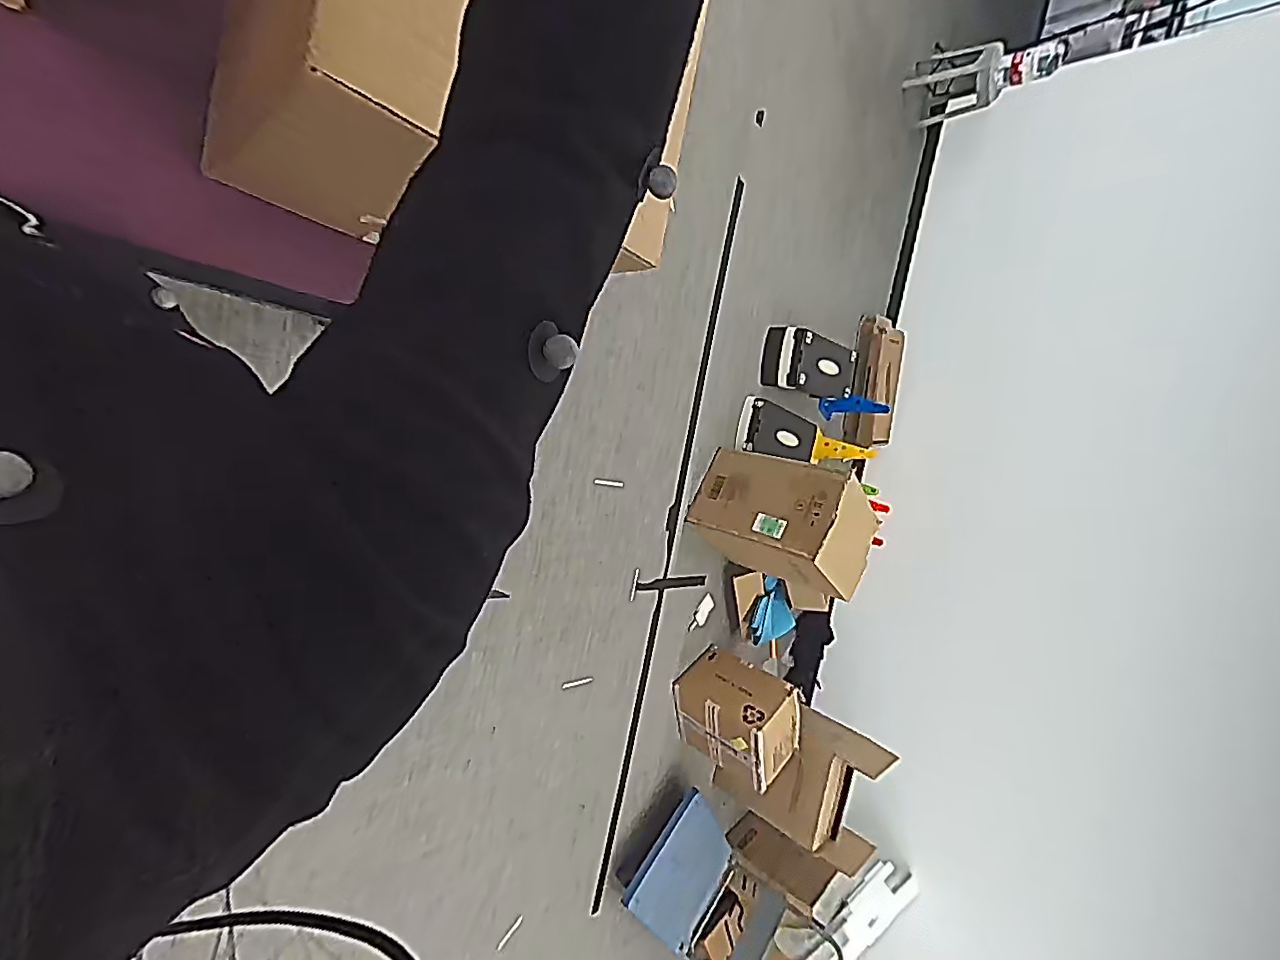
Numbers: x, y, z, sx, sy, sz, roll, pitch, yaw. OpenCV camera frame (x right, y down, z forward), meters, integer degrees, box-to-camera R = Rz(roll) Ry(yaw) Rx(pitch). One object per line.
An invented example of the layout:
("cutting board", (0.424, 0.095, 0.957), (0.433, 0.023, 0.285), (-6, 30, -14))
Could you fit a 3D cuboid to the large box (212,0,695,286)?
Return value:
("large box", (-0.166, -0.438, 0.508), (0.320, 0.320, 0.408), (7, 95, -49))
